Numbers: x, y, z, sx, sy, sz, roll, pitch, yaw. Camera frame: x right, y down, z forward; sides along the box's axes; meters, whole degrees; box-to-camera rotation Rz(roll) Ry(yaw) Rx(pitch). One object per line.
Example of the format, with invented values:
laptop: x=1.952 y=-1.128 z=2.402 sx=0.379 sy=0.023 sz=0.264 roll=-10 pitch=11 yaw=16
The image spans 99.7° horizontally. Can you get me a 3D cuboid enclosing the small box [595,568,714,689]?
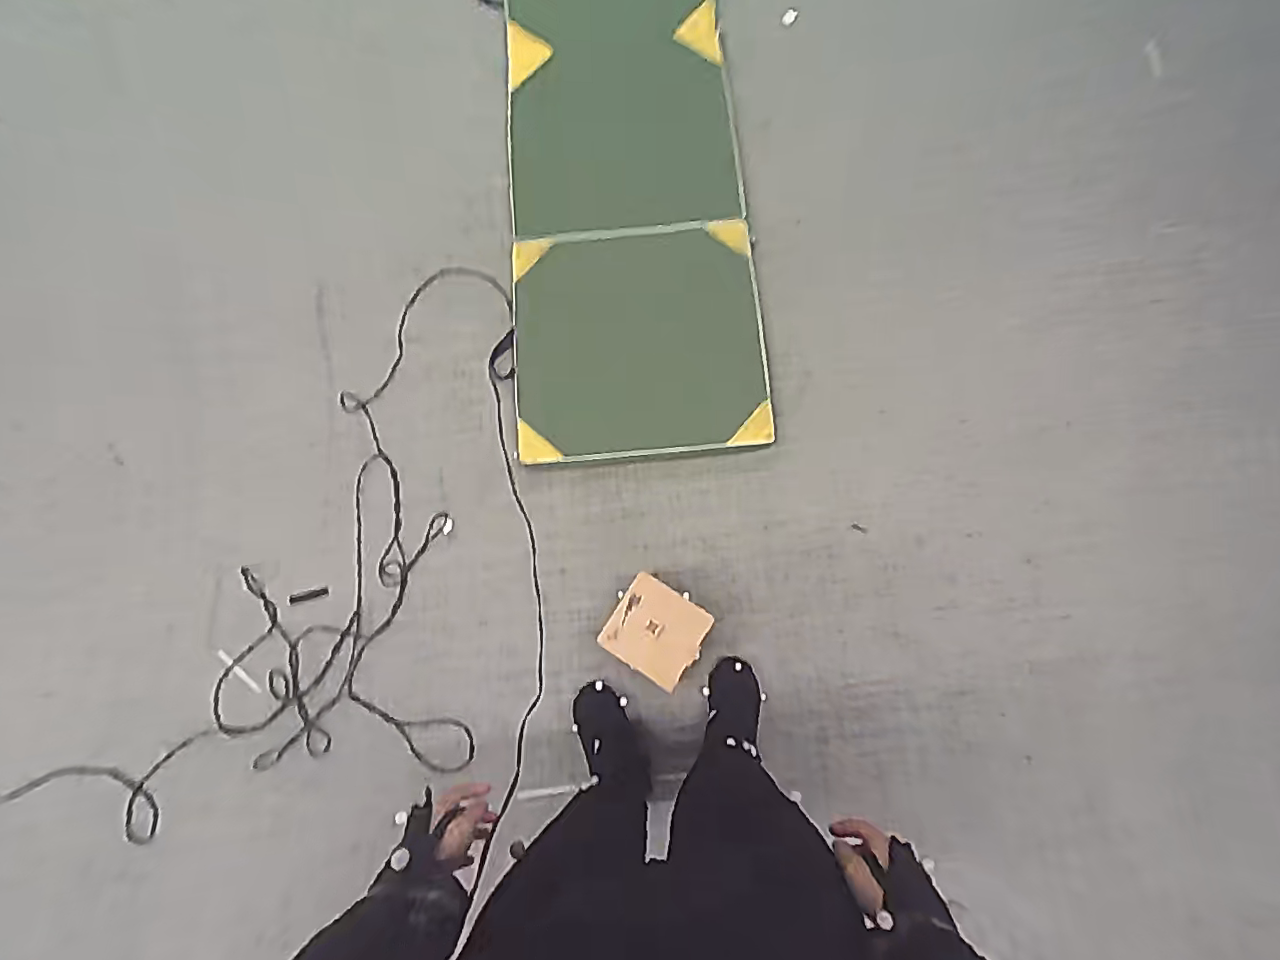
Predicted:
small box: x=0.030 y=0.298 z=1.117 sx=0.179 sy=0.176 sz=0.168 roll=32 pitch=80 yaw=8
